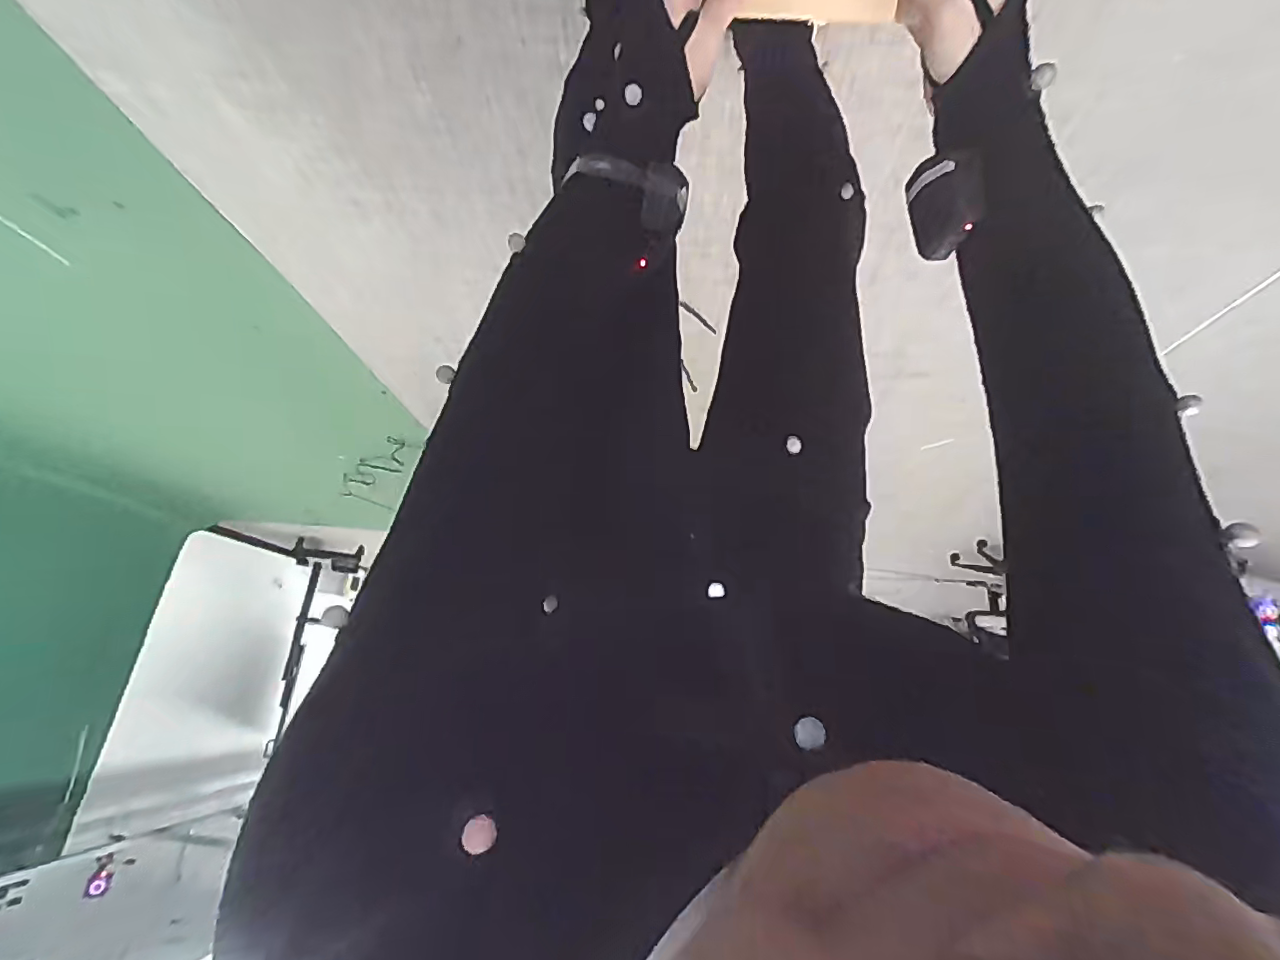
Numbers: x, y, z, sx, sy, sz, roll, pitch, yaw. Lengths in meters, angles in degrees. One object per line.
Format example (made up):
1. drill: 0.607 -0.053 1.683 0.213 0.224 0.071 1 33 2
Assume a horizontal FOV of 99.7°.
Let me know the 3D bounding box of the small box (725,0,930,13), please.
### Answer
1. small box: 0.152 -0.487 0.400 0.168 0.176 0.179 3 145 1
